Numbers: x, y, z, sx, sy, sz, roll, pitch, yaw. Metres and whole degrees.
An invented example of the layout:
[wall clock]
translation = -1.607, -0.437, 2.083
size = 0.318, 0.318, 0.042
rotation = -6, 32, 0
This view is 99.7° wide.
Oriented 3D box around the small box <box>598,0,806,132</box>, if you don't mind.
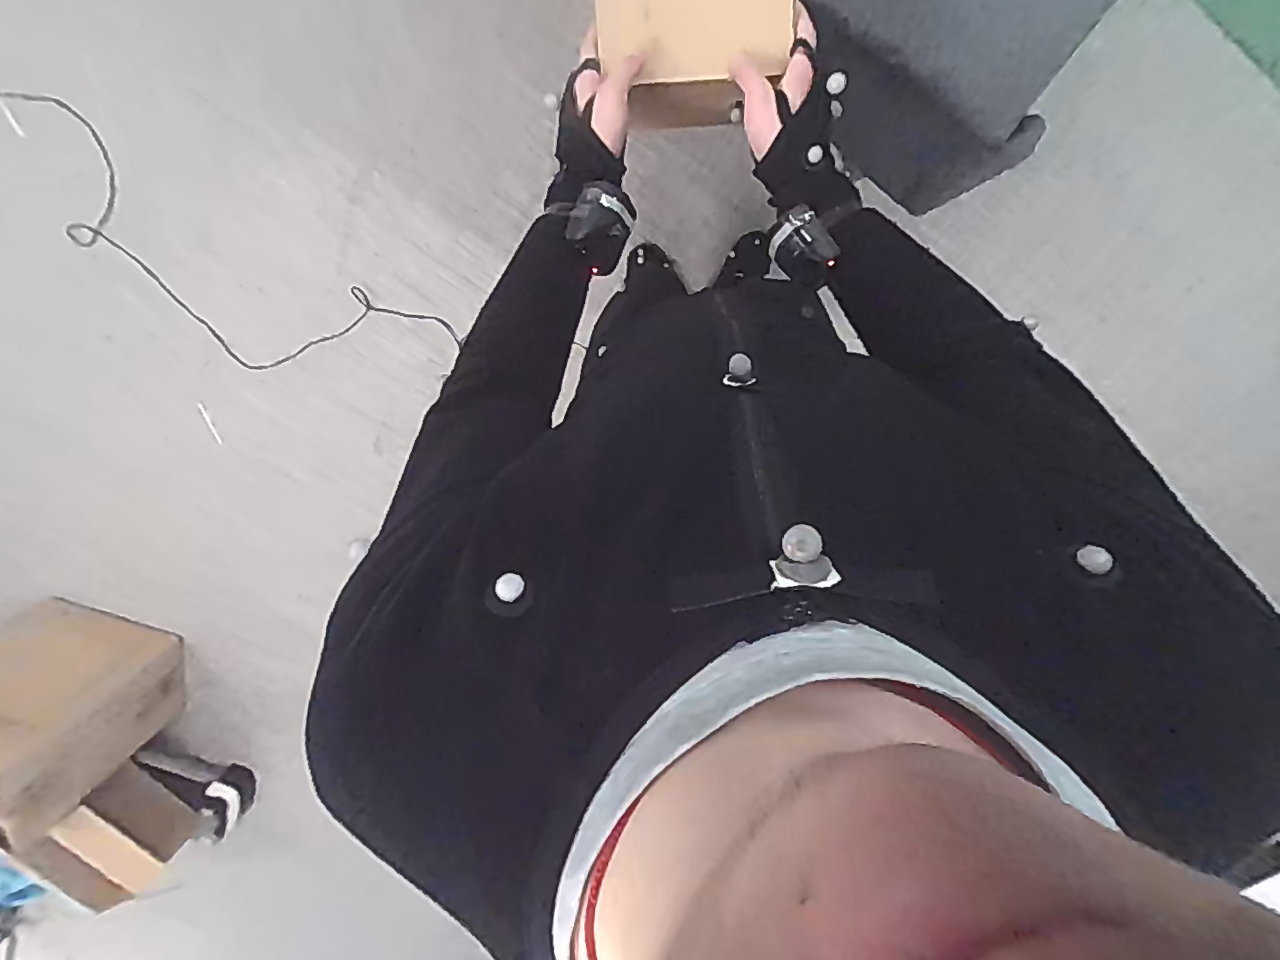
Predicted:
[small box]
translation = 0.055, -0.454, 0.519
size = 0.179, 0.176, 0.168
rotation = -1, 109, 5
